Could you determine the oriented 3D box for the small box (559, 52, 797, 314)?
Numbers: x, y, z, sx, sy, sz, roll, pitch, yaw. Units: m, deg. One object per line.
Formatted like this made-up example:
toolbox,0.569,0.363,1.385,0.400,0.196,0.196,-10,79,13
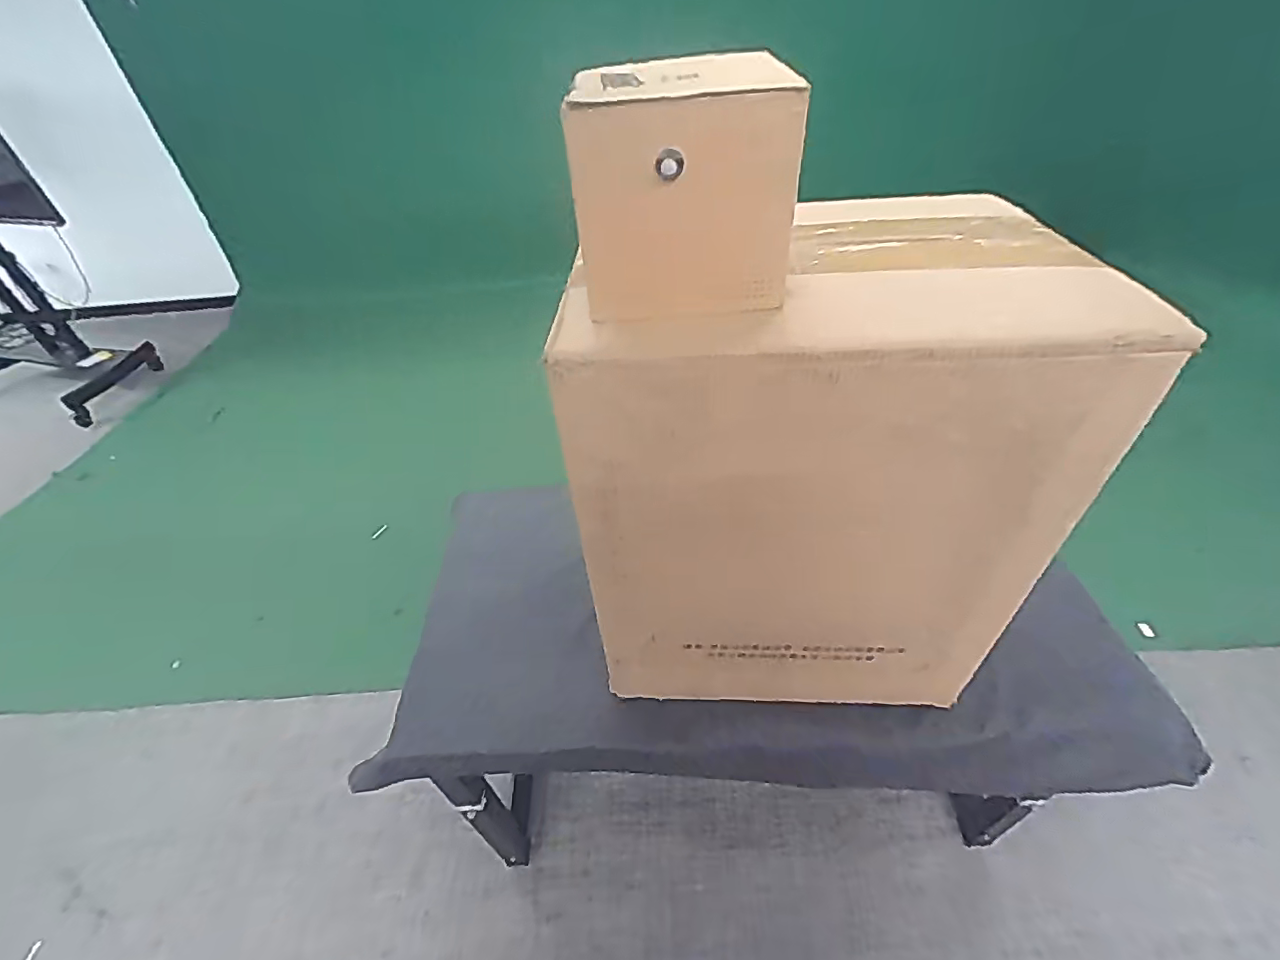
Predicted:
small box,0.039,-0.267,0.497,0.179,0.176,0.168,-1,47,6
